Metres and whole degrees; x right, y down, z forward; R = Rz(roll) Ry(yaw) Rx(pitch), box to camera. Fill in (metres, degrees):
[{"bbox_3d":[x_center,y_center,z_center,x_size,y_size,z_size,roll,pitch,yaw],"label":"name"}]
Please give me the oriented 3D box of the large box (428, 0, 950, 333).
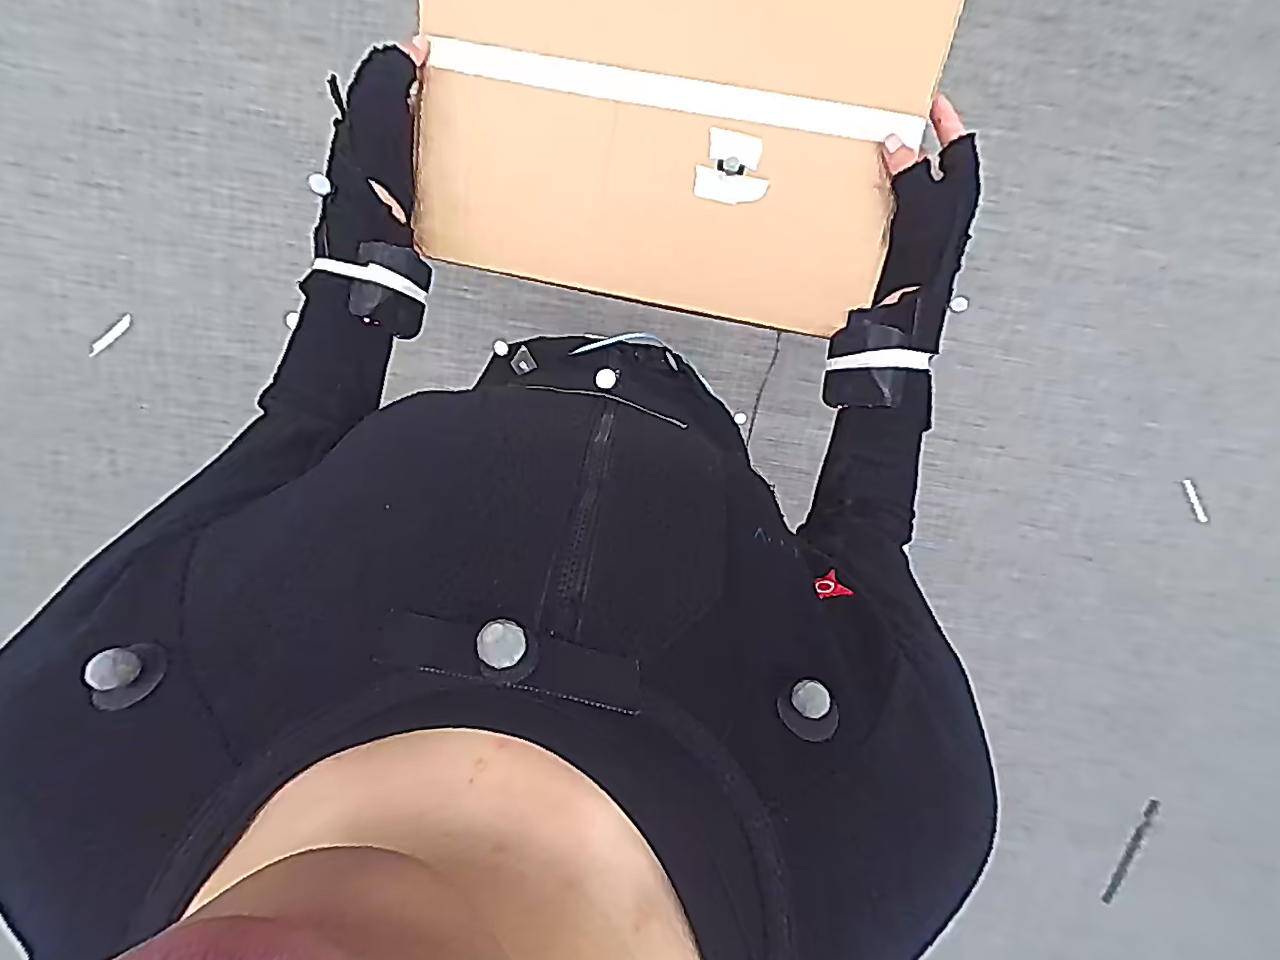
[{"bbox_3d":[0.039,-0.354,0.587,0.408,0.320,0.320,13,109,4],"label":"large box"}]
